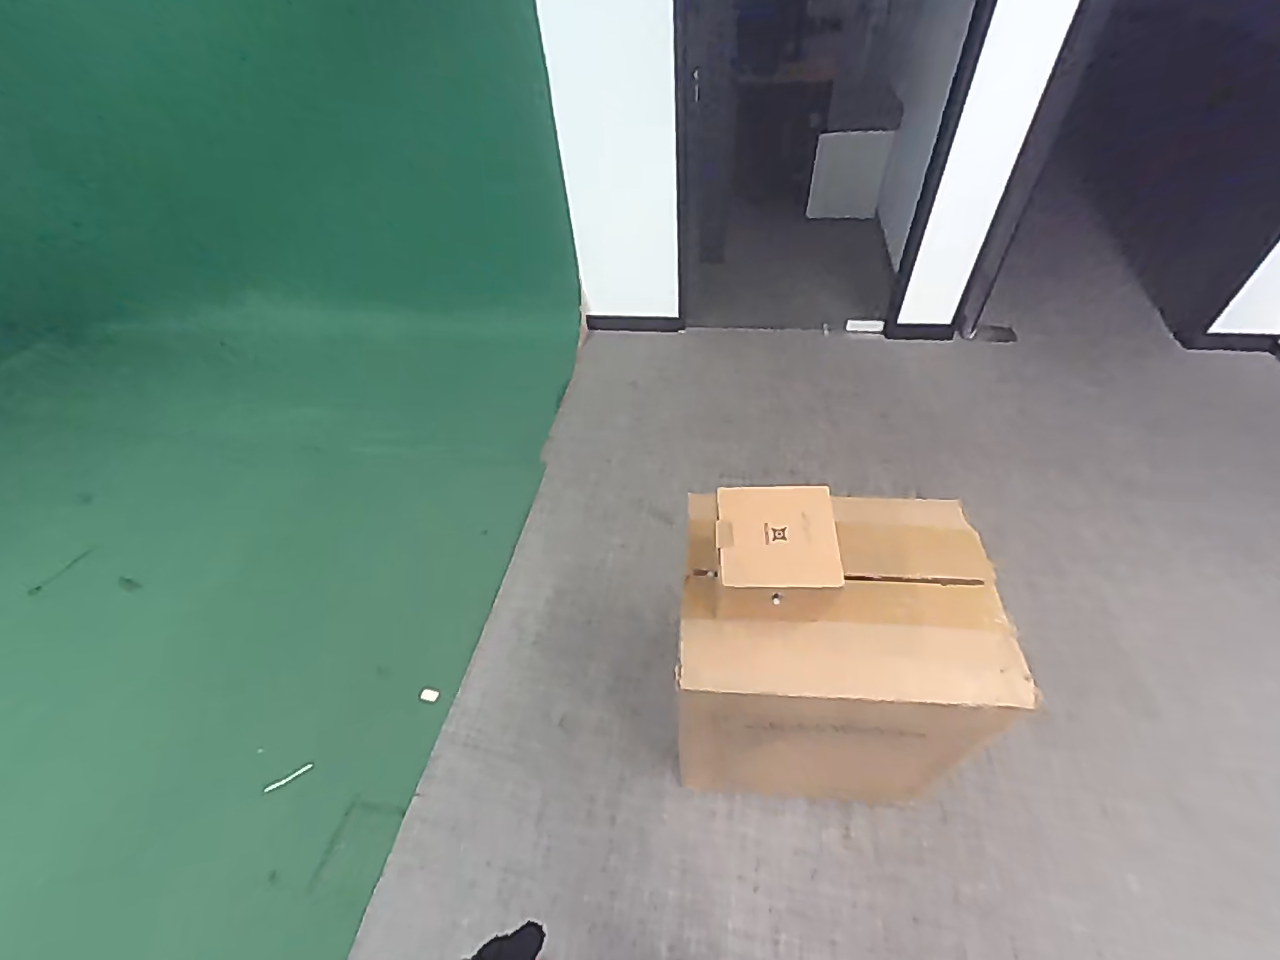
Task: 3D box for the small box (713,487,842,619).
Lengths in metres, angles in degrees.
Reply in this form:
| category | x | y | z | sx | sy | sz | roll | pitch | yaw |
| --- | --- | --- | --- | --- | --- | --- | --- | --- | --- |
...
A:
| category | x | y | z | sx | sy | sz | roll | pitch | yaw |
| --- | --- | --- | --- | --- | --- | --- | --- | --- | --- |
| small box | 0.210 | 0.123 | 0.879 | 0.179 | 0.176 | 0.168 | 0 | 60 | 4 |
